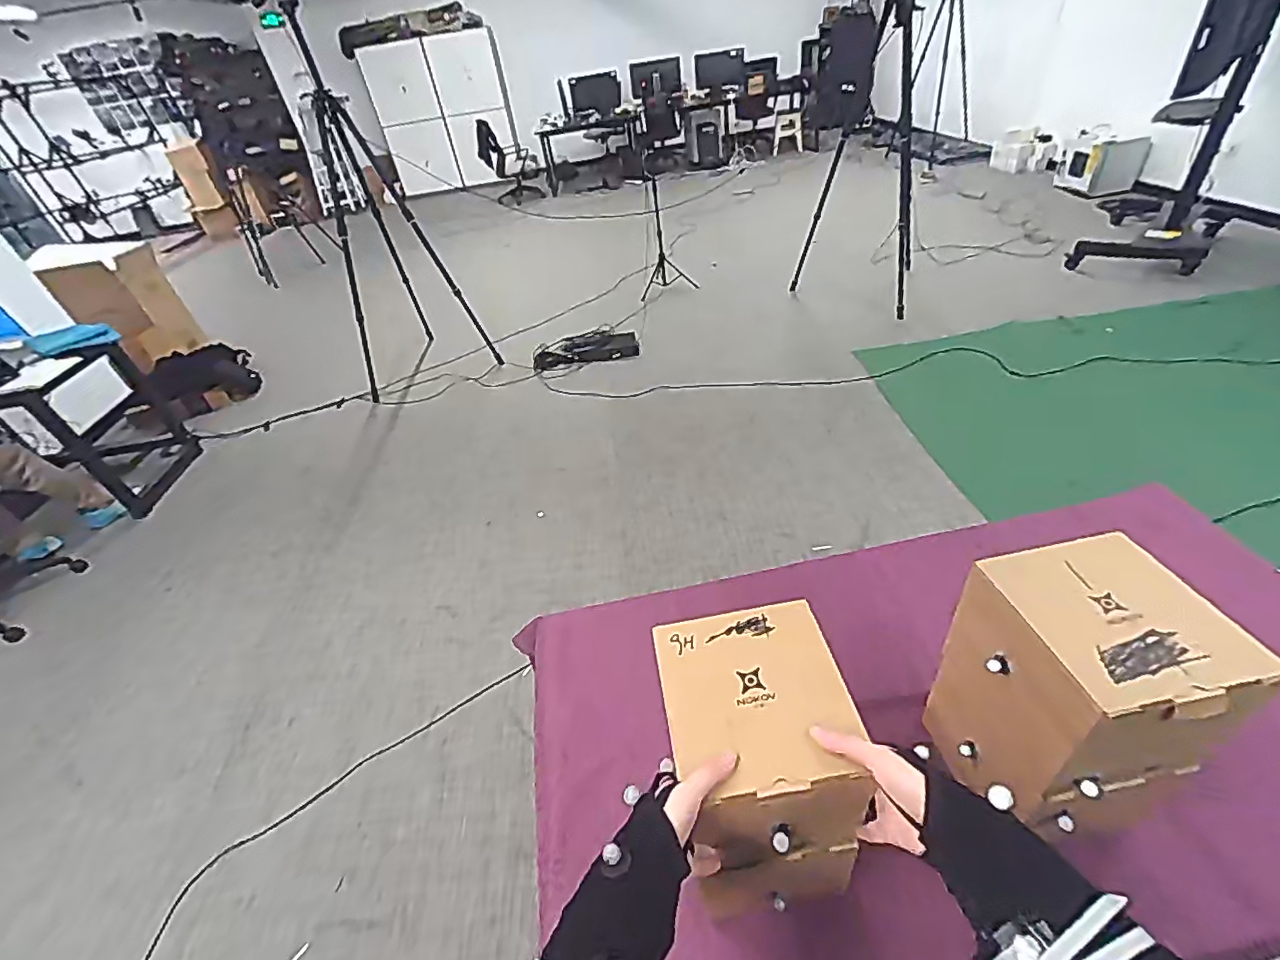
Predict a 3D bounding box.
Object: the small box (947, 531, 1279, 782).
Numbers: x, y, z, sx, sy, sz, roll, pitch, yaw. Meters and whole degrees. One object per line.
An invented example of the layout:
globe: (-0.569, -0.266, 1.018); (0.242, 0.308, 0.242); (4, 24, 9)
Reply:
small box: (0.454, 0.184, 0.556); (0.168, 0.176, 0.179); (-12, 37, -2)

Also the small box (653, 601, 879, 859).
small box: (0.114, 0.254, 0.544); (0.168, 0.176, 0.179); (-10, 40, -1)

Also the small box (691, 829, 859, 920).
small box: (0.137, 0.383, 0.645); (0.168, 0.176, 0.179); (-11, 38, 0)
